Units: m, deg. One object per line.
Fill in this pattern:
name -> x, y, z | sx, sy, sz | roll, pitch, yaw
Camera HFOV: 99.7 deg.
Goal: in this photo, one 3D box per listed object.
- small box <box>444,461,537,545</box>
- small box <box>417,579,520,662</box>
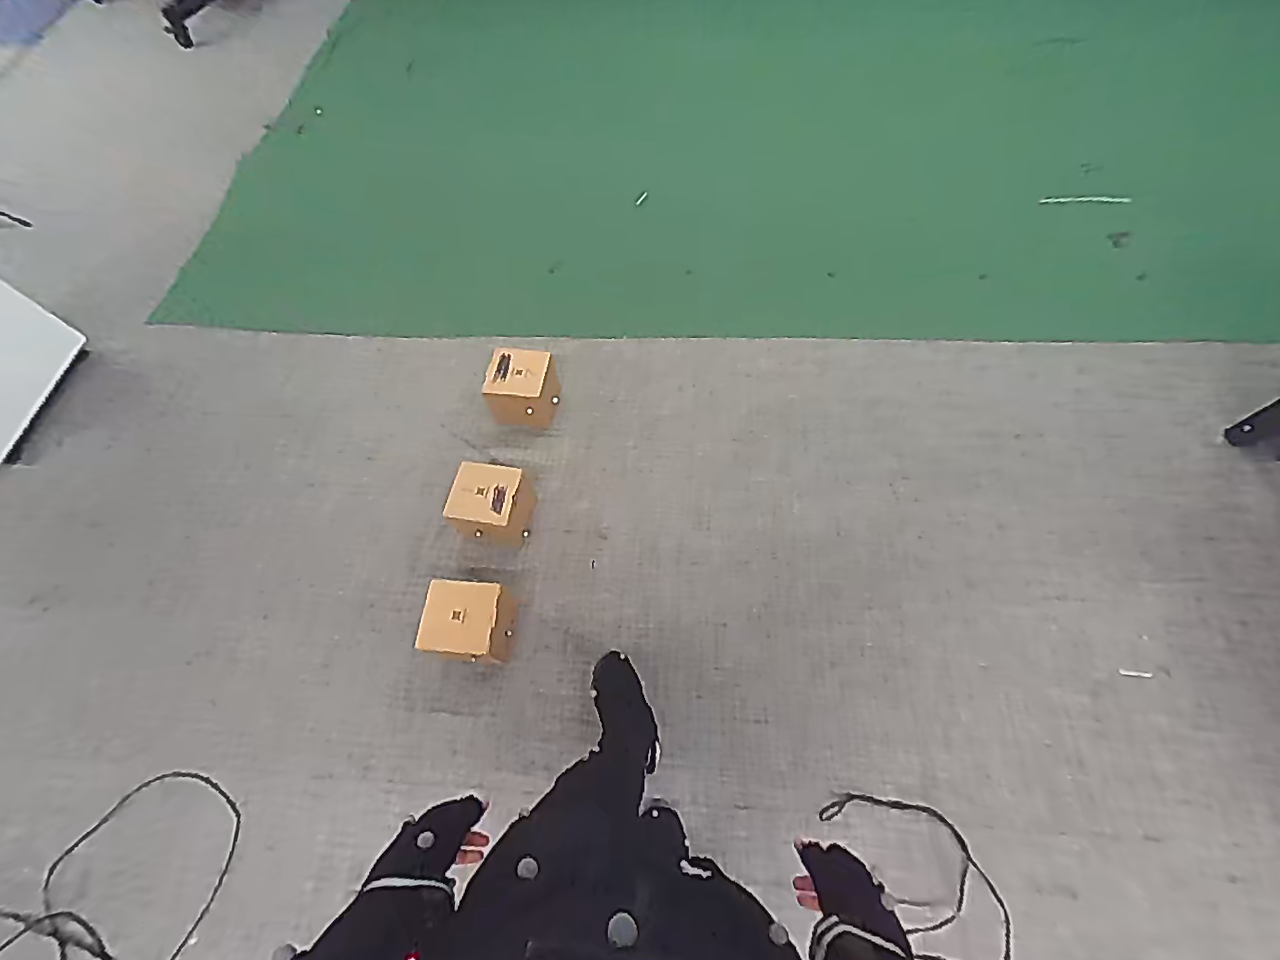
small box -> -0.397, 0.069, 1.472 | 0.179, 0.176, 0.168 | 7, 64, 9
small box -> -0.414, 0.352, 1.336 | 0.179, 0.176, 0.168 | 2, 64, 5
